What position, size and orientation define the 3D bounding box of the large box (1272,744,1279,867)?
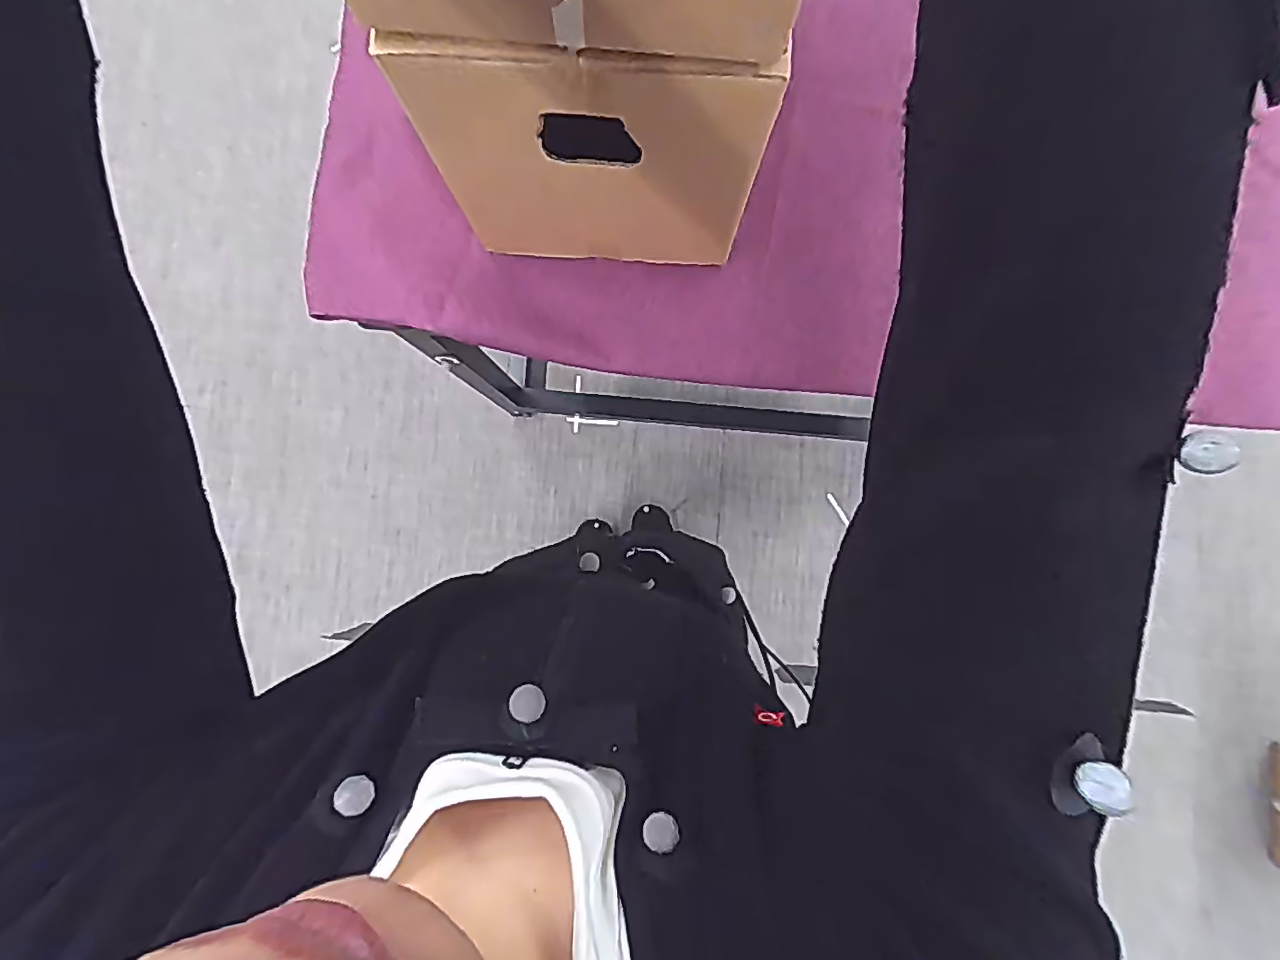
[{"bbox_3d":[1.779,0.814,1.199,0.408,0.320,0.320,4,87,1],"label":"large box"}]
